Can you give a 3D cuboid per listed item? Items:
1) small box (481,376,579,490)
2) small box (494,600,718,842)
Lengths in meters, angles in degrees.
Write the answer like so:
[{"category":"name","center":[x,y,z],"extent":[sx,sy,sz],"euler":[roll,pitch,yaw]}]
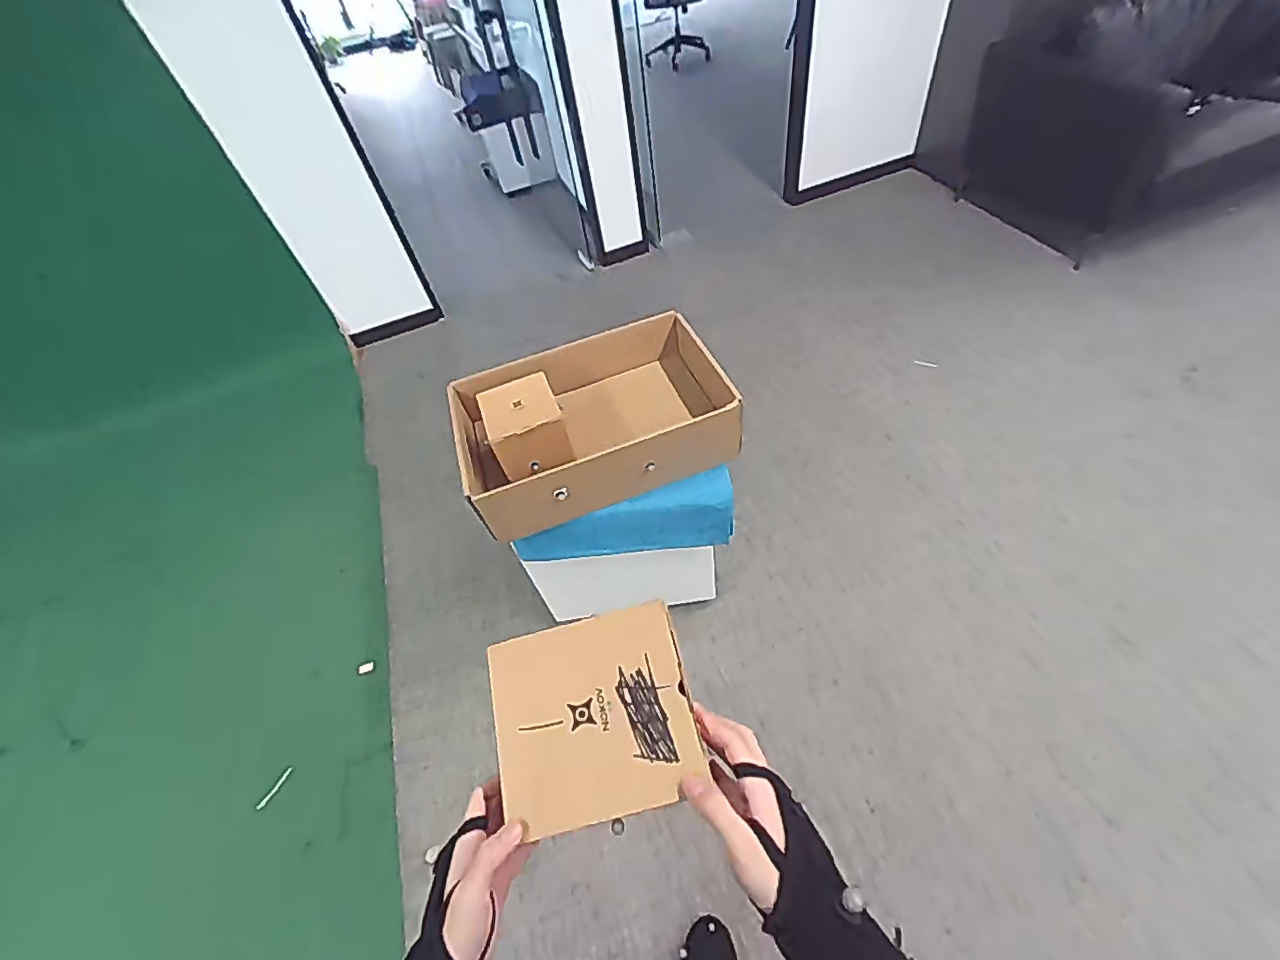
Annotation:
[{"category":"small box","center":[-0.255,-0.108,1.262],"extent":[0.168,0.176,0.179],"euler":[-21,51,-8]},{"category":"small box","center":[-0.028,0.237,0.544],"extent":[0.179,0.176,0.168],"euler":[-15,62,0]}]
